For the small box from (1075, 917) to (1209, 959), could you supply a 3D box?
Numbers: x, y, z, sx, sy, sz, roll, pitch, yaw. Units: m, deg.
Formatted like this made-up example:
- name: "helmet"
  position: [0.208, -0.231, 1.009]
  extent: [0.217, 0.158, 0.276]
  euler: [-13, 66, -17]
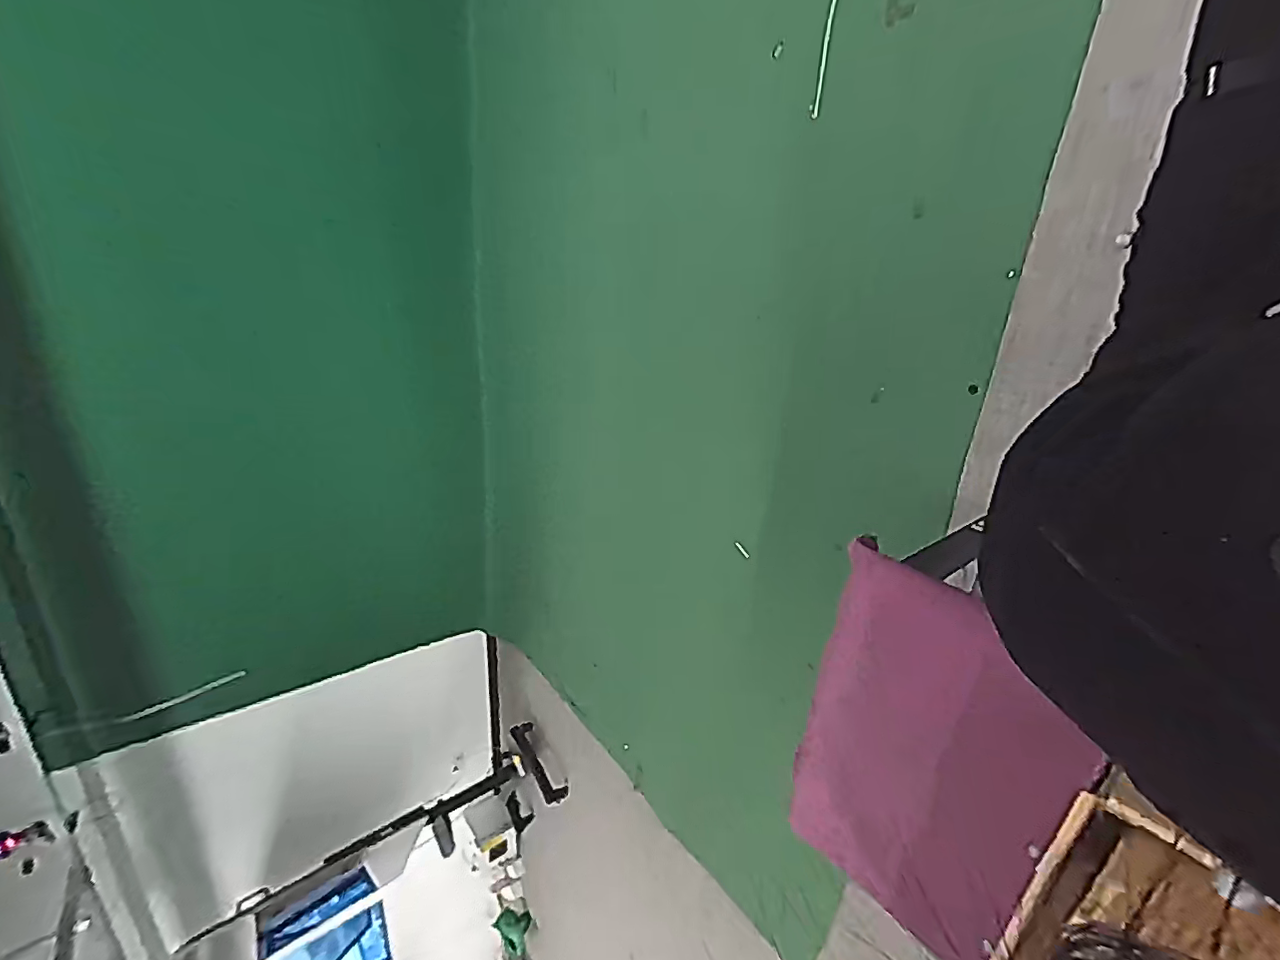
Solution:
- name: "small box"
  position: [0.436, 0.509, 0.434]
  extent: [0.179, 0.176, 0.168]
  euler: [29, 122, 42]
